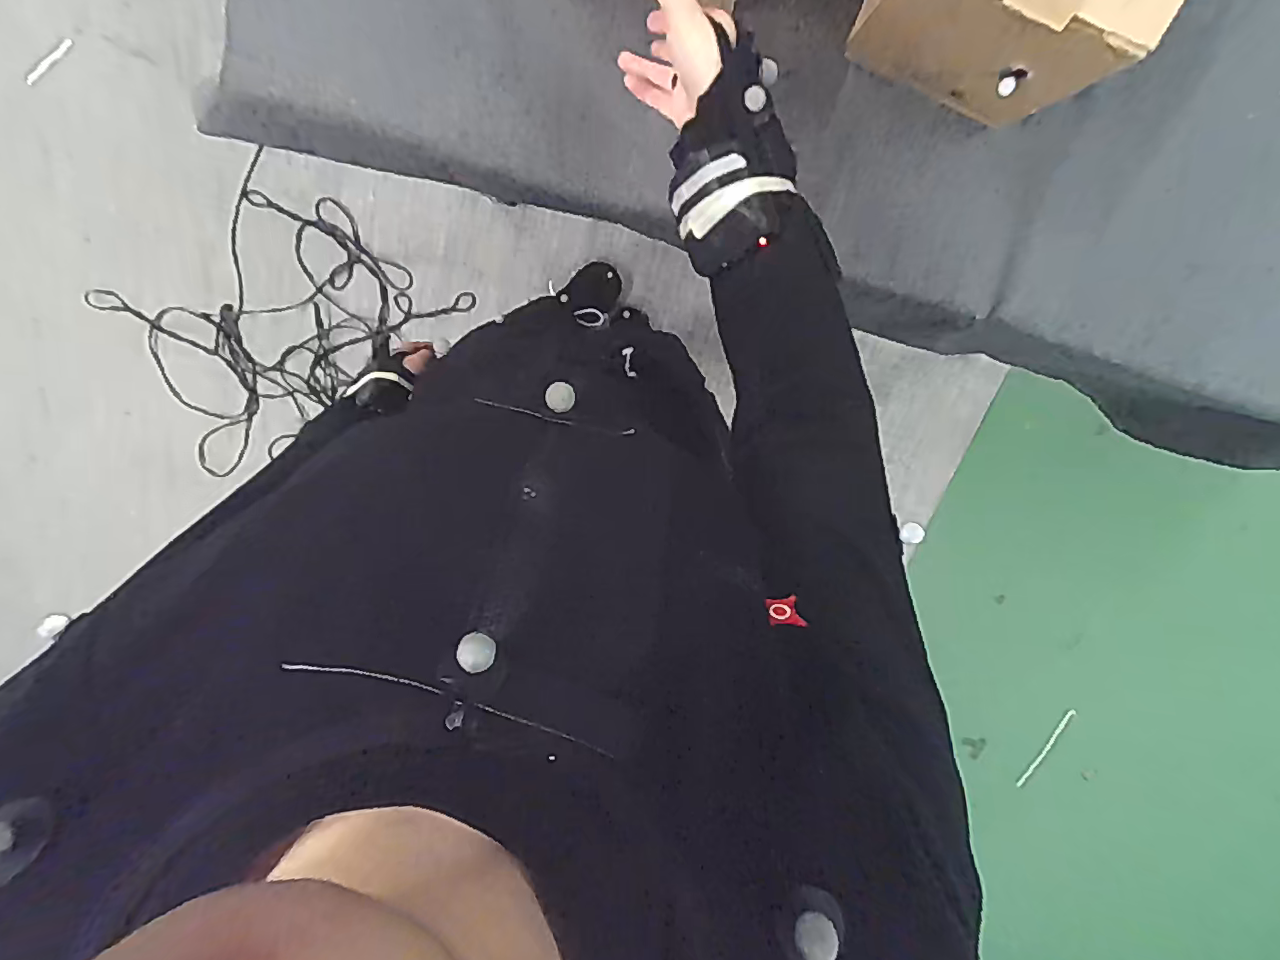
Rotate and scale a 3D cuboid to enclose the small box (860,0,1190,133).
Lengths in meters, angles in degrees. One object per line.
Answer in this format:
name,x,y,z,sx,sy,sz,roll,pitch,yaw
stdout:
small box,0.289,-0.395,0.397,0.168,0.176,0.179,20,107,-5
